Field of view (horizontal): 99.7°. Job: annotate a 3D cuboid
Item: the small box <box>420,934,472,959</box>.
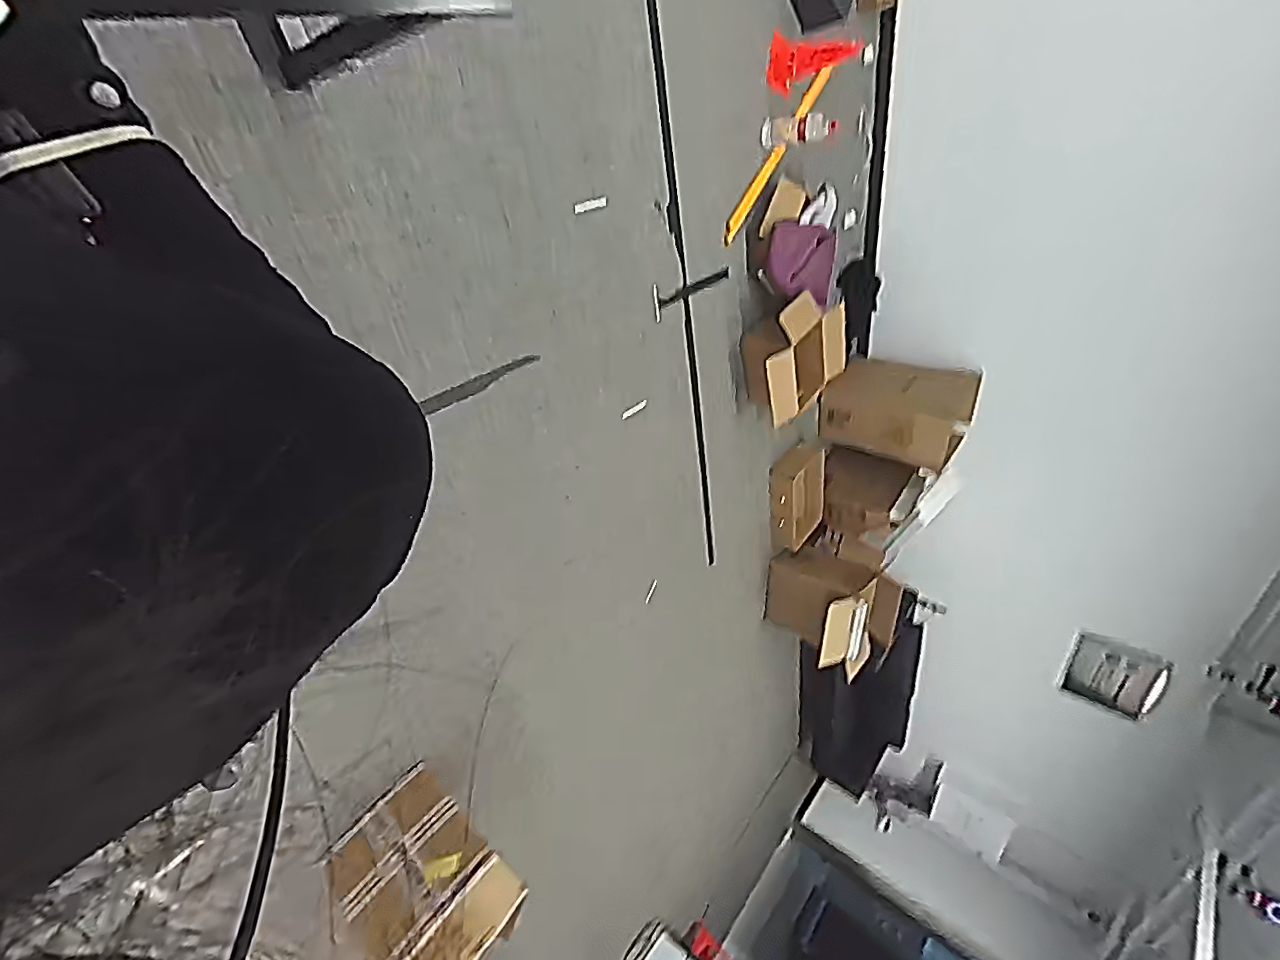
[{"bbox_3d":[-0.550,1.434,1.506,0.179,0.176,0.168,-43,132,-30],"label":"small box"}]
